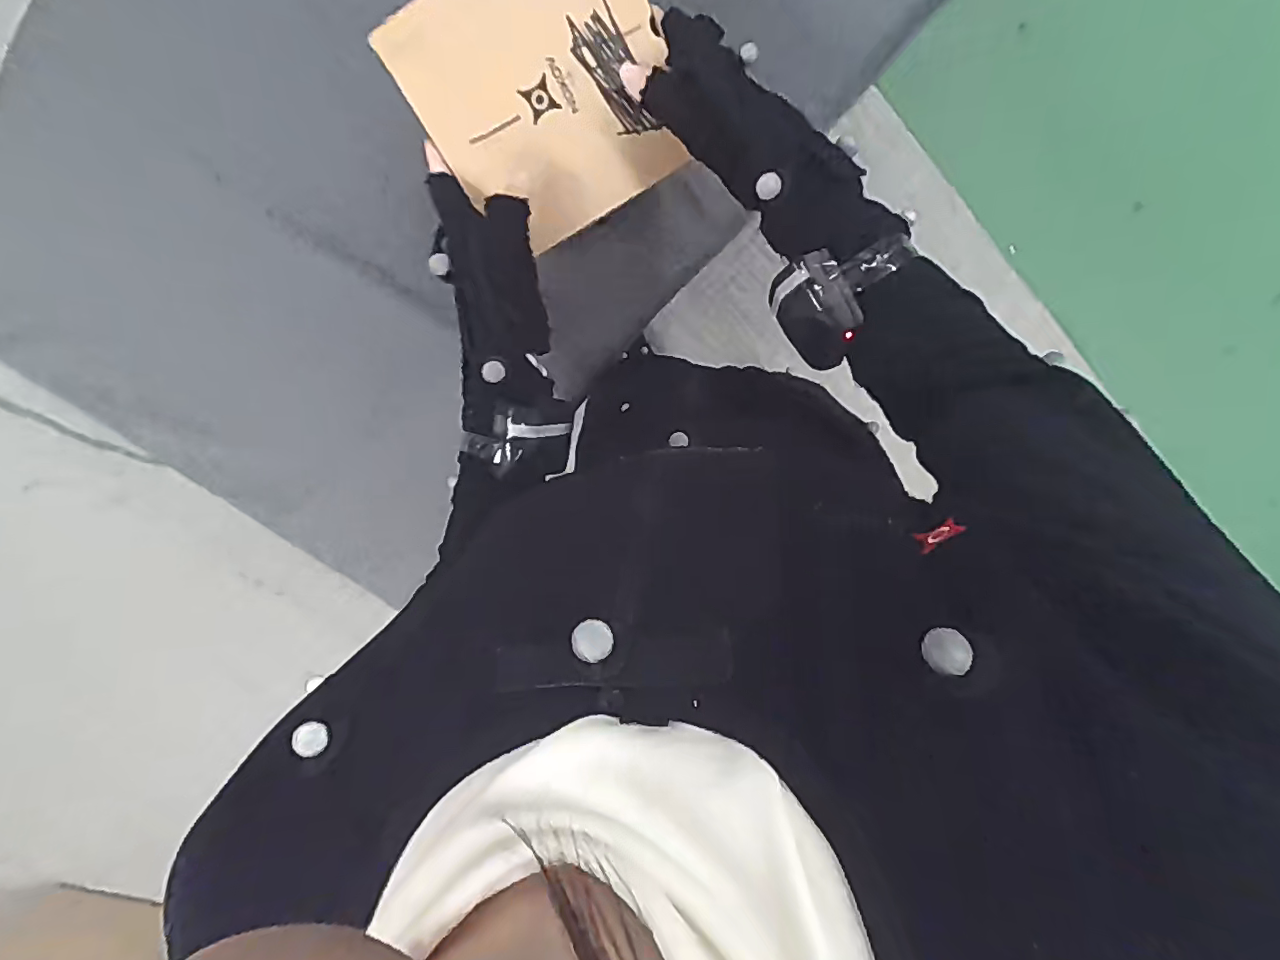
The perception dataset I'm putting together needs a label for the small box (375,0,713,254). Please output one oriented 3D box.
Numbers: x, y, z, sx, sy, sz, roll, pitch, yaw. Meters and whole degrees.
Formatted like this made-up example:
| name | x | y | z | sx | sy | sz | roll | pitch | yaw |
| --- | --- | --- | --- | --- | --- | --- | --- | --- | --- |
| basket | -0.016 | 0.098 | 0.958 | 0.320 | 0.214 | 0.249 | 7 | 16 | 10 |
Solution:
| name | x | y | z | sx | sy | sz | roll | pitch | yaw |
| --- | --- | --- | --- | --- | --- | --- | --- | --- | --- |
| small box | -0.067 | -0.307 | 0.434 | 0.179 | 0.176 | 0.168 | -27 | 117 | 6 |
